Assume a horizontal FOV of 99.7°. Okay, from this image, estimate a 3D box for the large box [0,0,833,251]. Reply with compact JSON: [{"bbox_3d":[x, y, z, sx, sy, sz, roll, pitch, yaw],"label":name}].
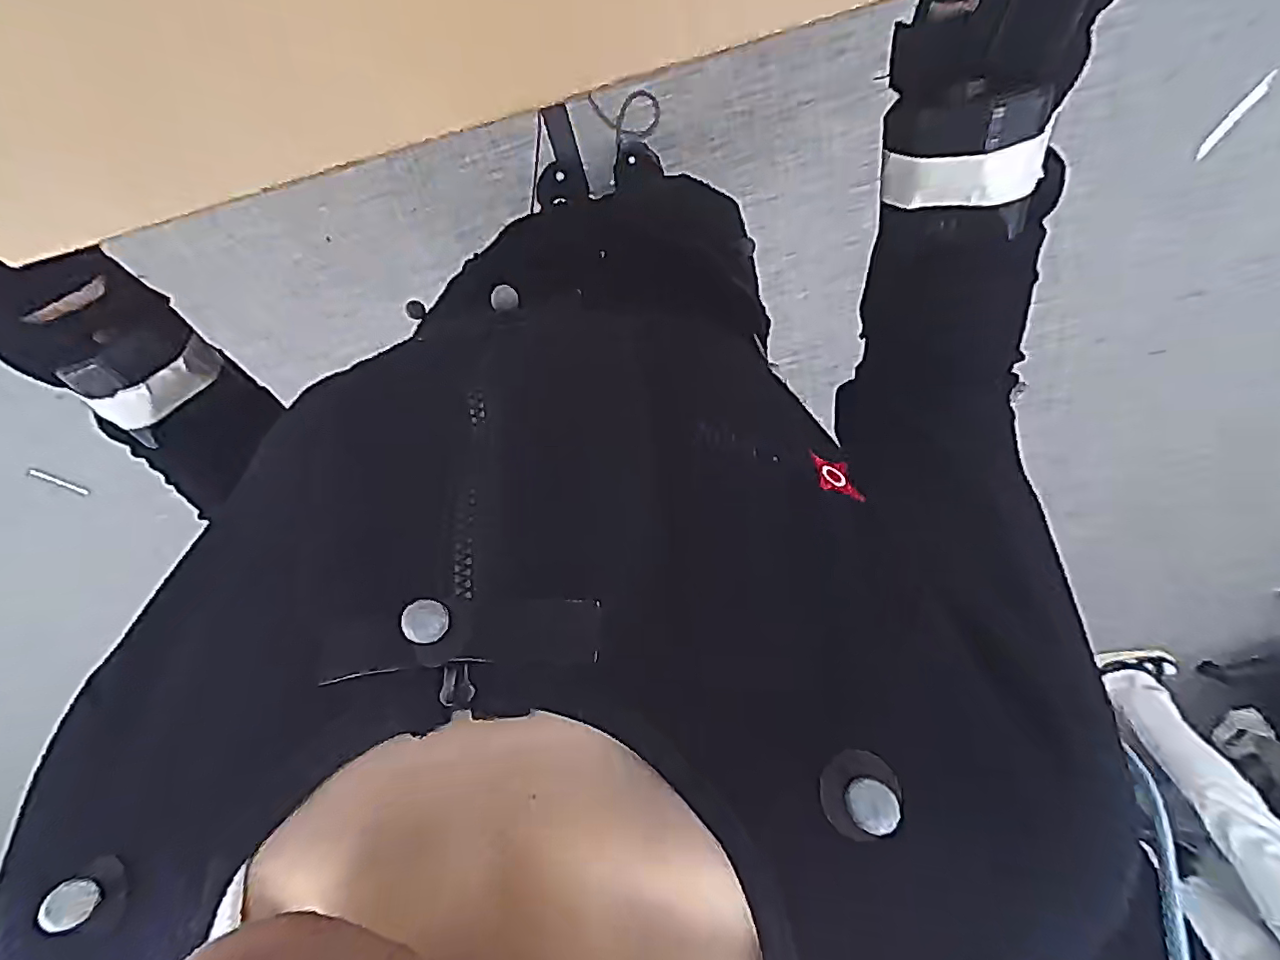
[{"bbox_3d":[-0.120,-0.351,0.230,0.408,0.320,0.320,-12,132,8],"label":"large box"}]
